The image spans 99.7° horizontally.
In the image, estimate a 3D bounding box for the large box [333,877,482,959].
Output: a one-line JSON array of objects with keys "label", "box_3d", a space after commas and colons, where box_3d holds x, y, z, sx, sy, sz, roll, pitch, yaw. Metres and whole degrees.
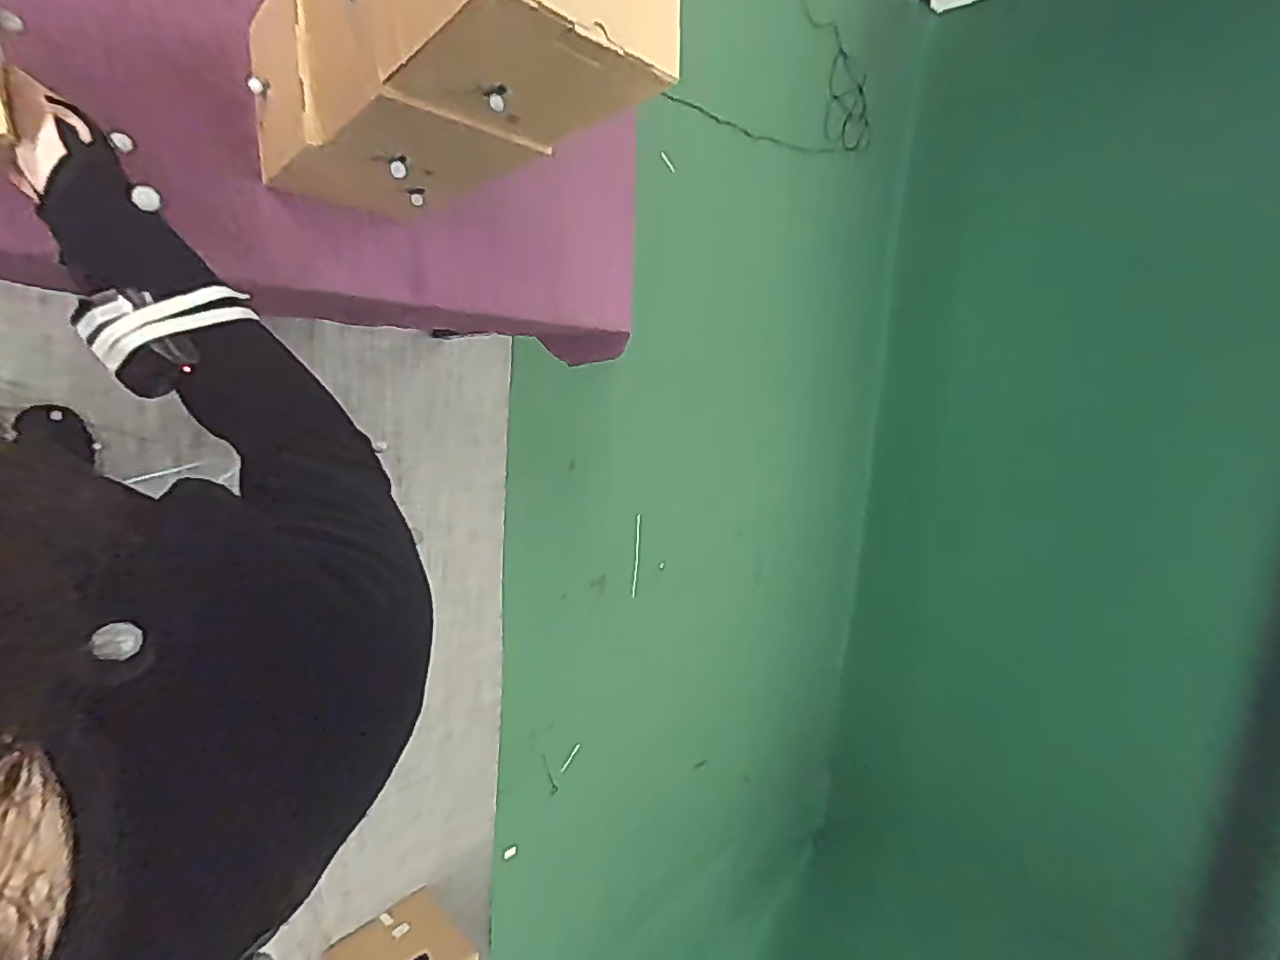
[{"label": "large box", "box_3d": [-0.688, 1.532, 1.610, 0.320, 0.320, 0.408, -6, 104, -46]}]

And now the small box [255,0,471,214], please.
[{"label": "small box", "box_3d": [-0.319, -0.427, 0.630, 0.179, 0.176, 0.168, -9, 104, -45]}]

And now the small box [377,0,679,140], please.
[{"label": "small box", "box_3d": [-0.087, -0.392, 0.404, 0.168, 0.176, 0.179, -13, 108, -44]}]

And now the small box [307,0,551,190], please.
[{"label": "small box", "box_3d": [-0.202, -0.408, 0.518, 0.168, 0.176, 0.179, -10, 106, -44]}]

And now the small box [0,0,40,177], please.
[{"label": "small box", "box_3d": [-0.477, -0.289, 0.300, 0.168, 0.176, 0.179, -13, 115, -41]}]
